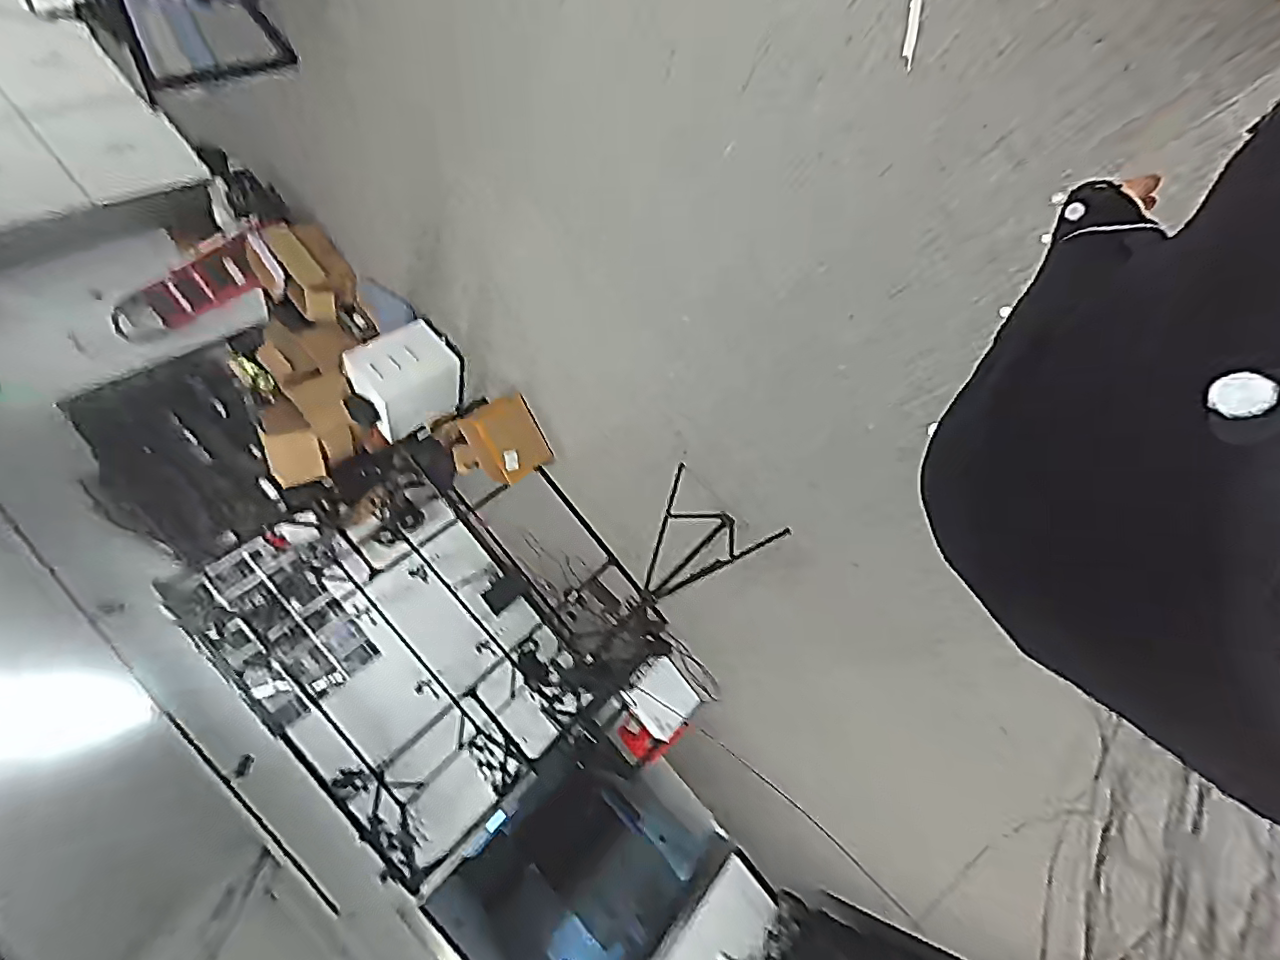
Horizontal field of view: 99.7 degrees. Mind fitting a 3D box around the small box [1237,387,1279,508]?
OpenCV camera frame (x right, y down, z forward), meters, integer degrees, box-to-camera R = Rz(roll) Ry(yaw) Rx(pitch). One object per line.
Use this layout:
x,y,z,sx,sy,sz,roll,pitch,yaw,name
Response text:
1.229,-0.079,0.968,0.168,0.176,0.179,52,148,-5,small box
